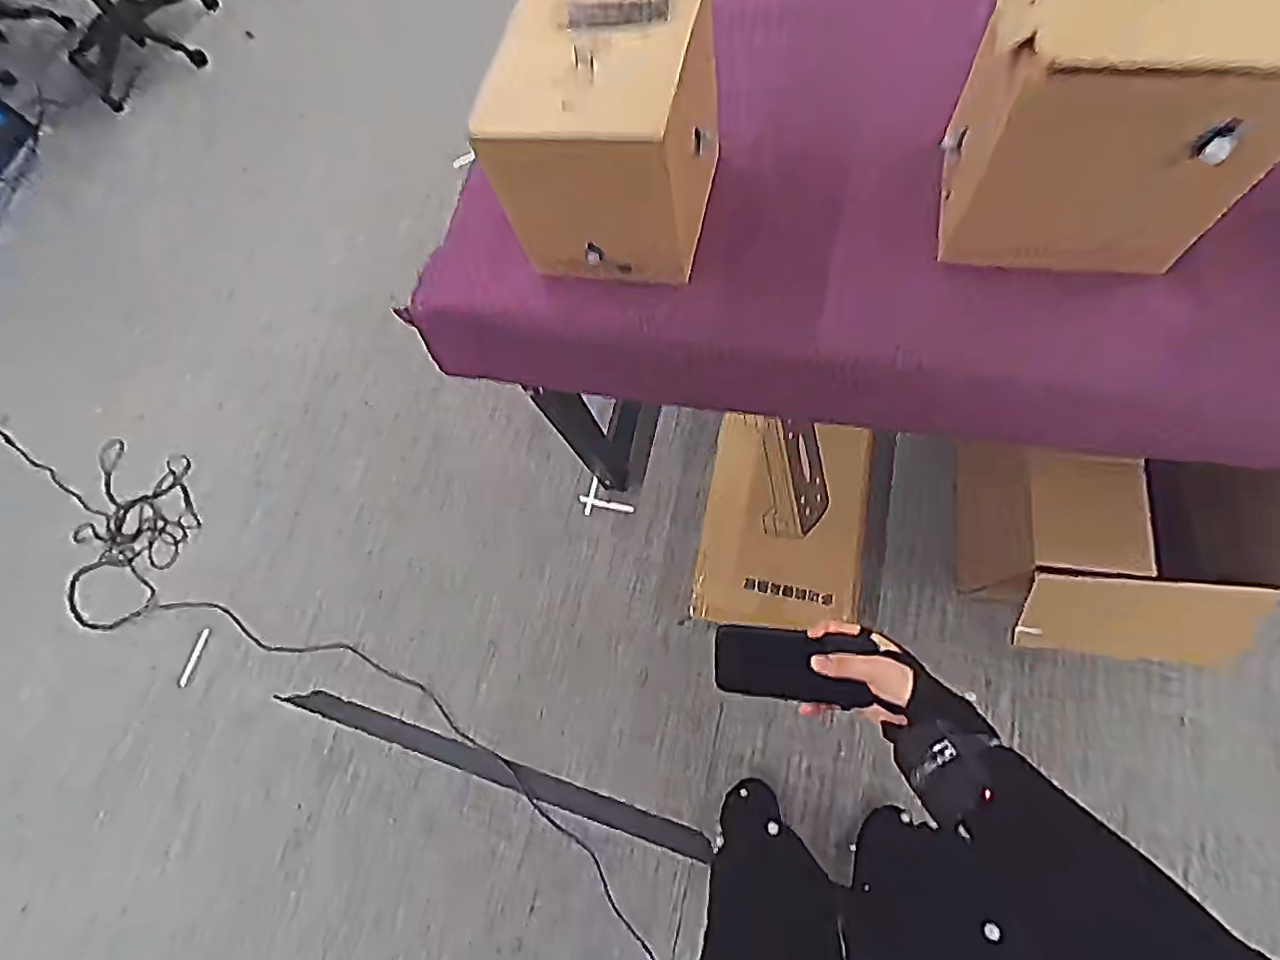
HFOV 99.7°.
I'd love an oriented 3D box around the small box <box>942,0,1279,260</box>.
[{"bbox_3d":[0.360,-0.293,0.415,0.179,0.176,0.168,9,71,14],"label":"small box"}]
